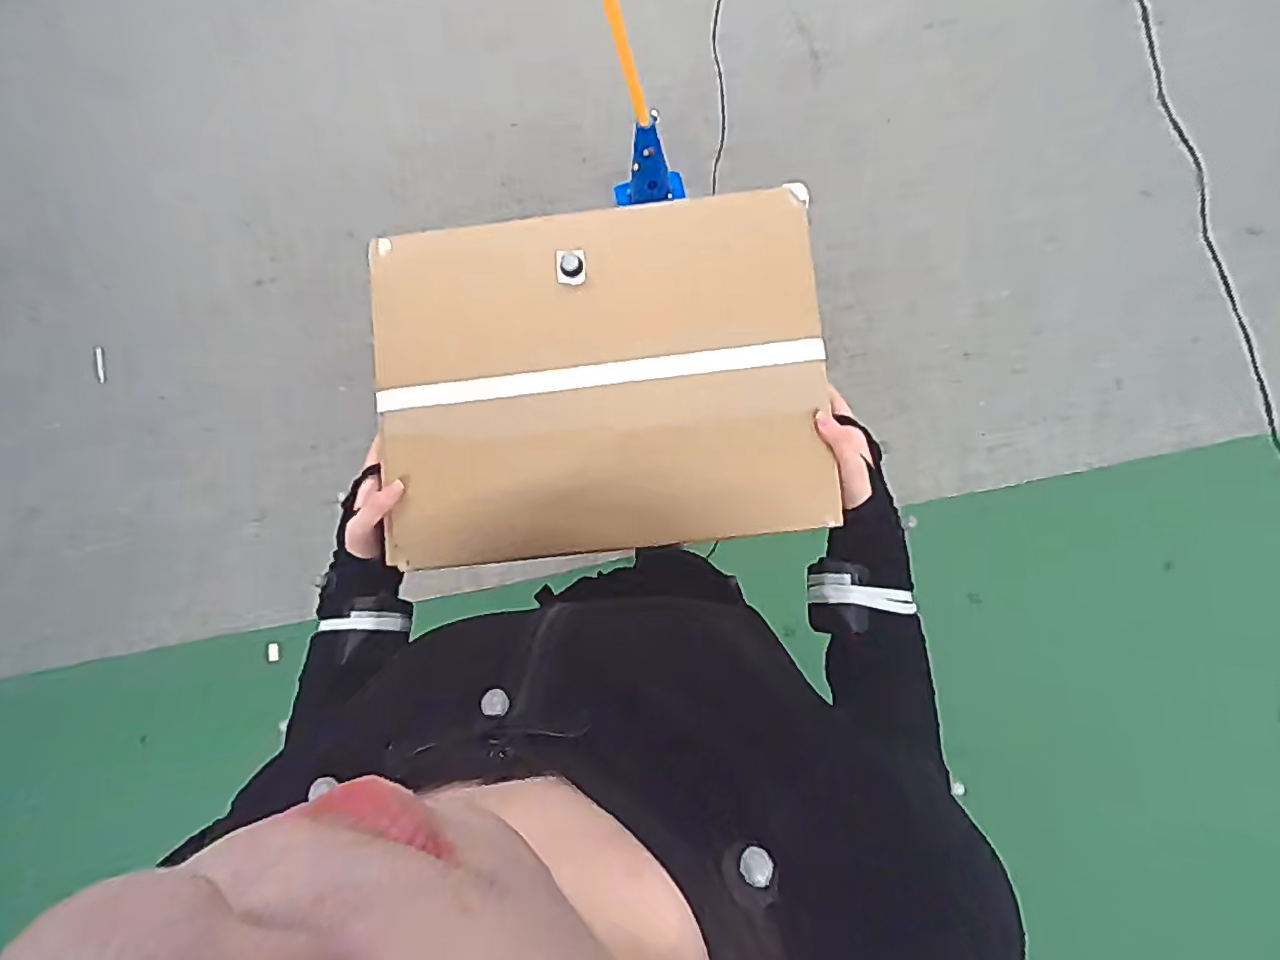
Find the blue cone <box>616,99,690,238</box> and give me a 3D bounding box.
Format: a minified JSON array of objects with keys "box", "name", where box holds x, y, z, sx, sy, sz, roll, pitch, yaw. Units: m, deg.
[{"box":[0.023,-0.802,1.373,0.193,0.380,0.192,-14,86,4],"name":"blue cone"}]
